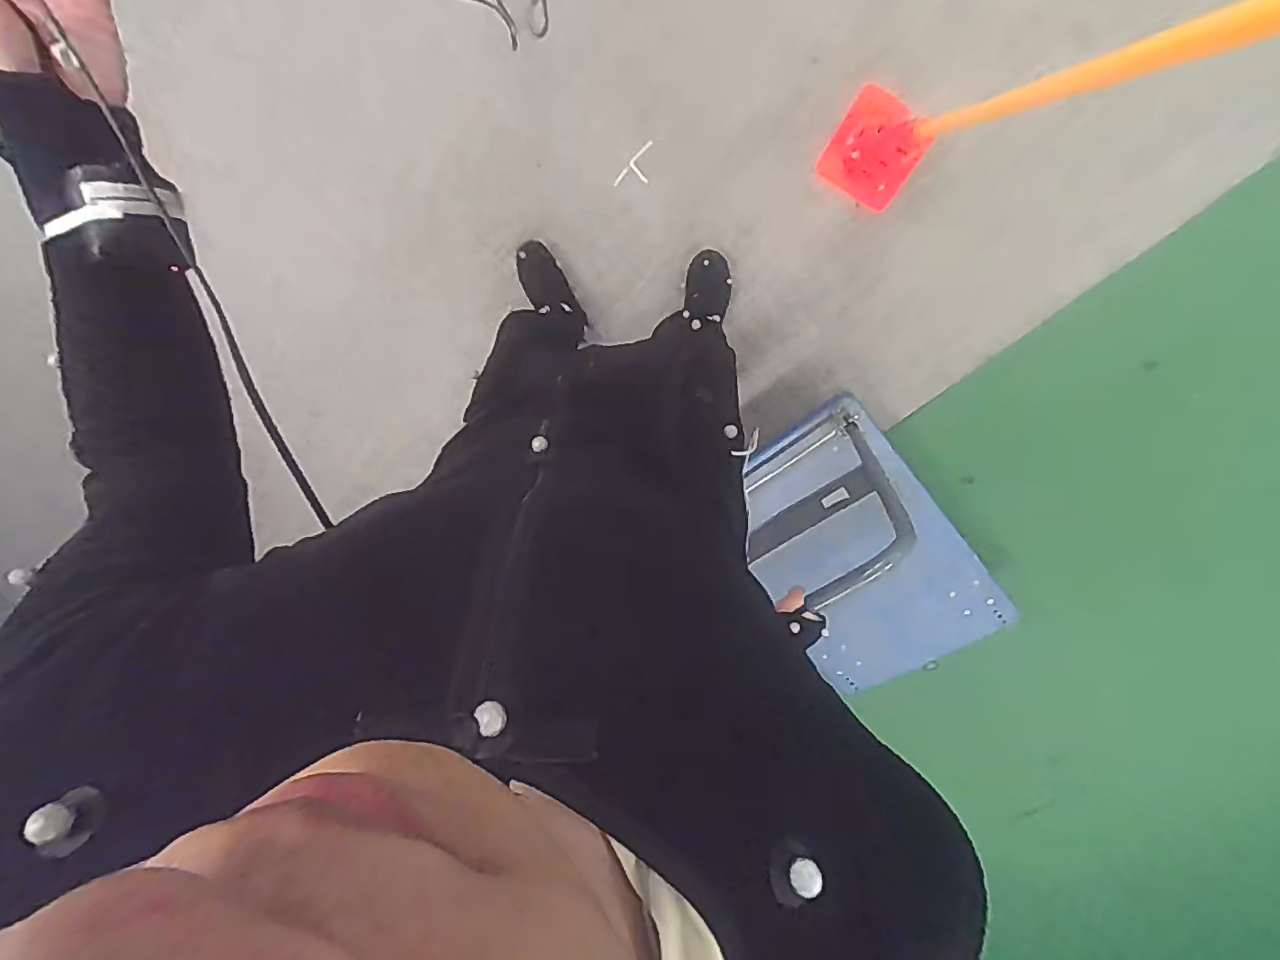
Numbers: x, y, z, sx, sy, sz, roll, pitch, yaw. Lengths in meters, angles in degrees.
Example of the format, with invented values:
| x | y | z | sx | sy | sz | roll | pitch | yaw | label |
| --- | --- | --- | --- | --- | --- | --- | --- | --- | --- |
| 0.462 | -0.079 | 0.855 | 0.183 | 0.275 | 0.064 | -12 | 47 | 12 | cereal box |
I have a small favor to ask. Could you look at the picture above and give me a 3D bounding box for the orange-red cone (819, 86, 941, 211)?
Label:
| x | y | z | sx | sy | sz | roll | pitch | yaw | label |
| --- | --- | --- | --- | --- | --- | --- | --- | --- | --- |
| 0.522 | -0.681 | 1.089 | 0.198 | 0.360 | 0.199 | 30 | 116 | -8 | orange-red cone |
